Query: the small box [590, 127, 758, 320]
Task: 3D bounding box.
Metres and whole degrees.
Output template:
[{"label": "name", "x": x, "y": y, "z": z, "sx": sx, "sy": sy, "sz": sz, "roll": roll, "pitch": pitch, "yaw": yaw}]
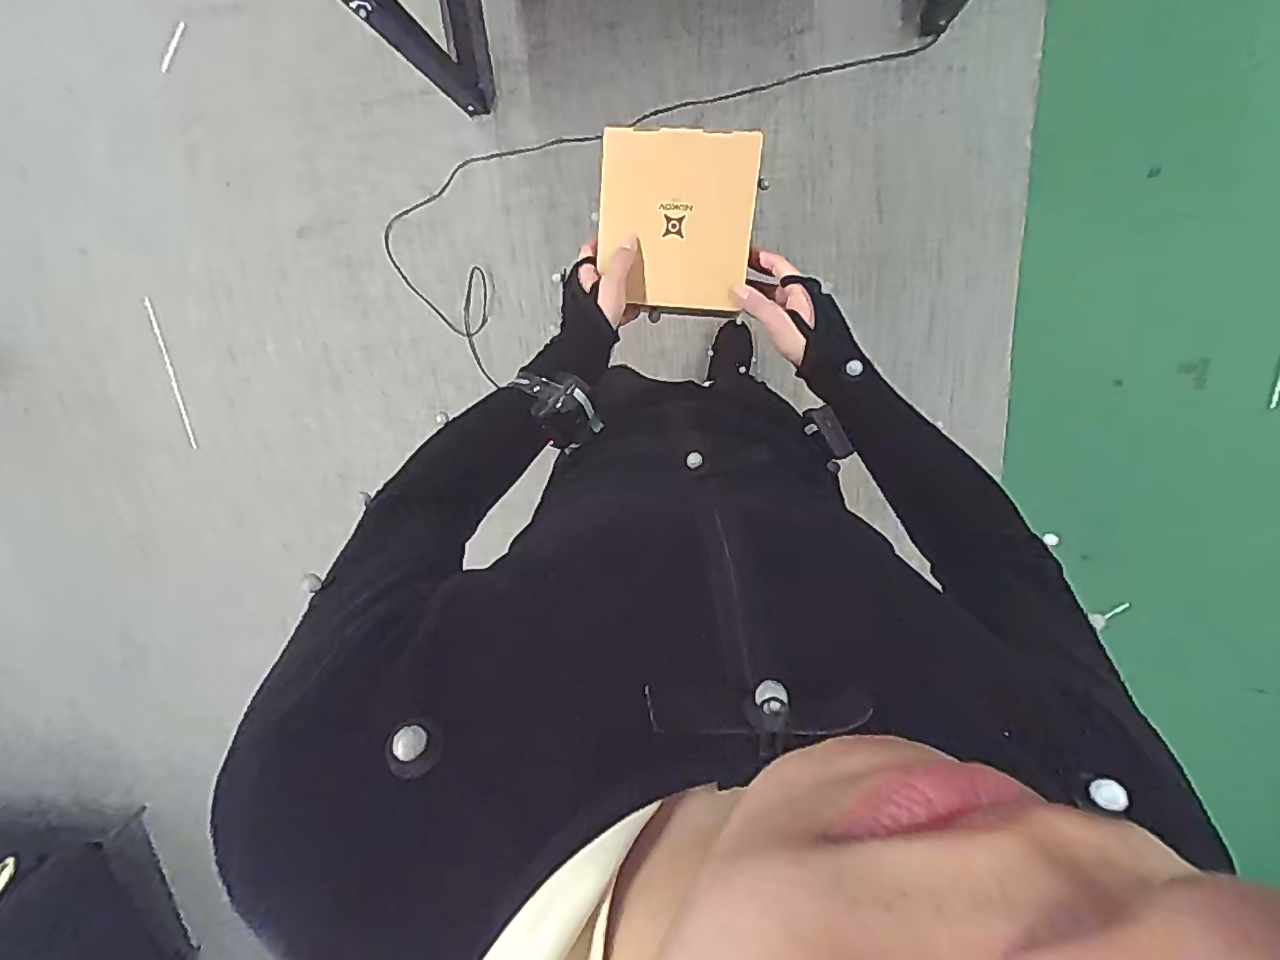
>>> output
[{"label": "small box", "x": 0.045, "y": -0.289, "z": 0.643, "sx": 0.168, "sy": 0.176, "sz": 0.179, "roll": 6, "pitch": 103, "yaw": 8}]
